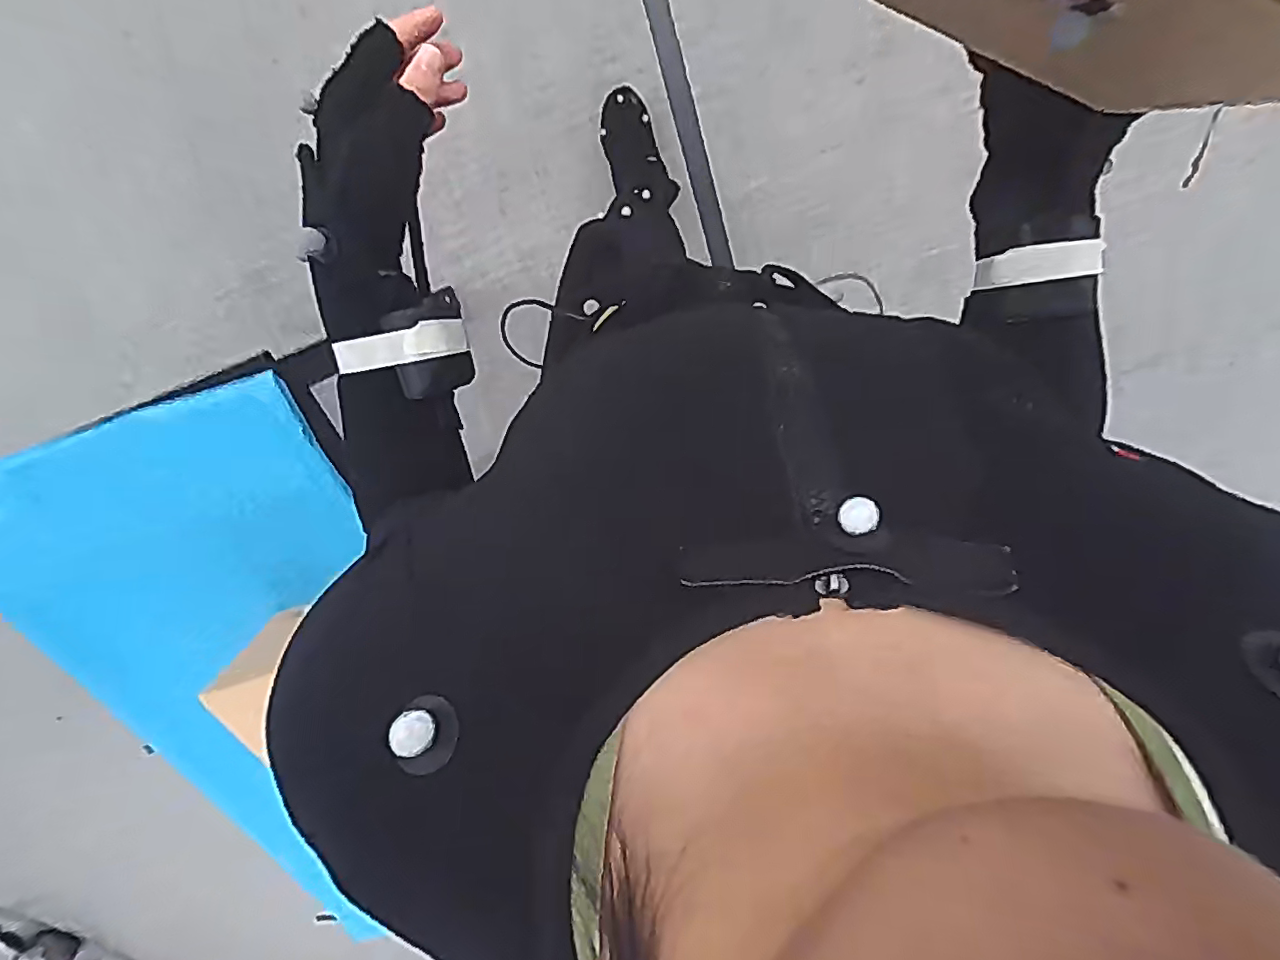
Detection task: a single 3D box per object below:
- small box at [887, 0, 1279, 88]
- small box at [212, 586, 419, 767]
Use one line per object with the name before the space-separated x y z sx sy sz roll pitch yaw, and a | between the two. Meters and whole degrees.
small box | 0.223 -0.273 0.203 0.179 0.176 0.168 14 121 -8
small box | -0.470 0.293 0.820 0.168 0.176 0.179 -18 115 10
